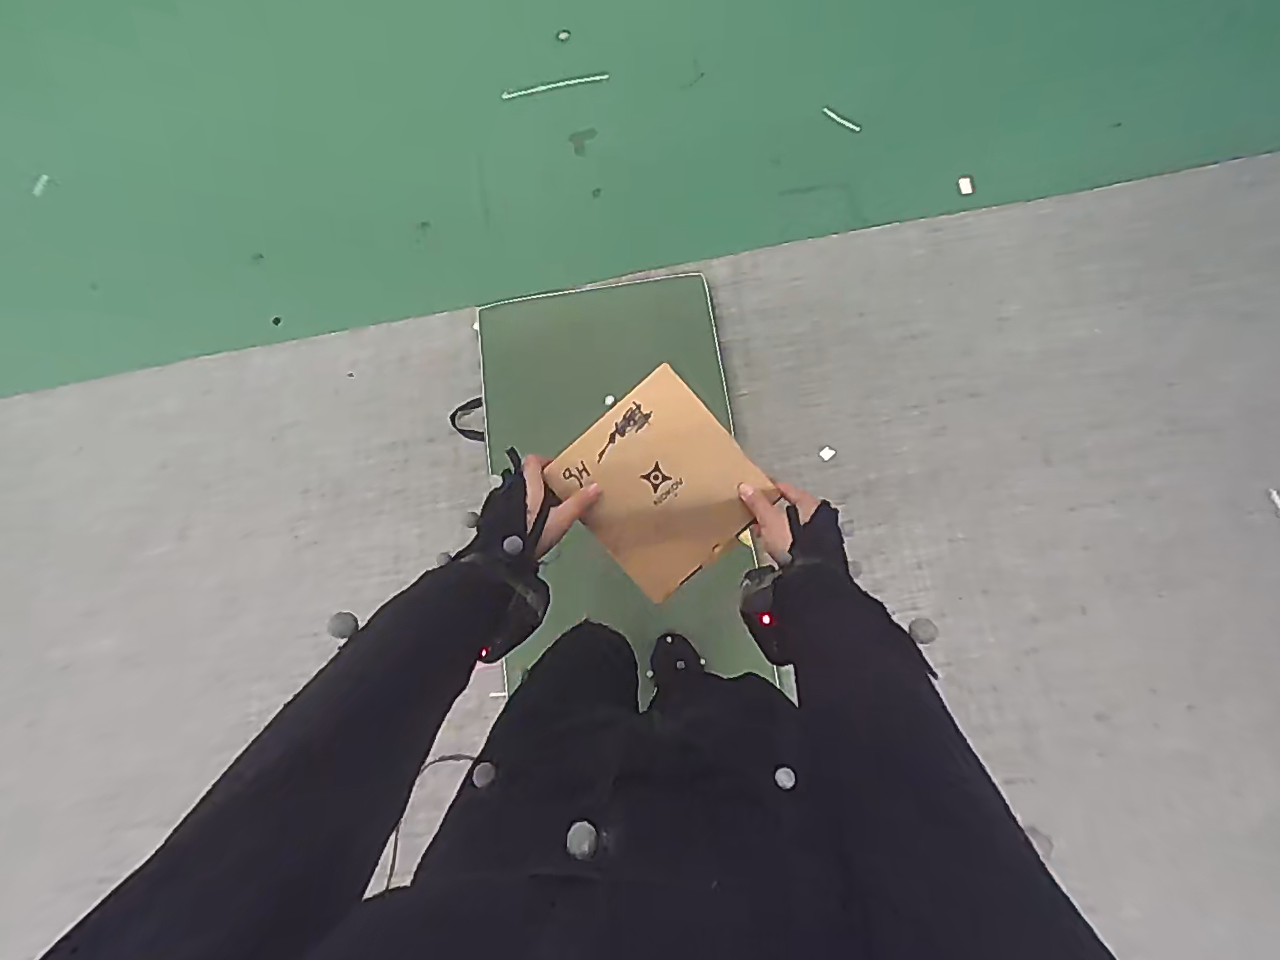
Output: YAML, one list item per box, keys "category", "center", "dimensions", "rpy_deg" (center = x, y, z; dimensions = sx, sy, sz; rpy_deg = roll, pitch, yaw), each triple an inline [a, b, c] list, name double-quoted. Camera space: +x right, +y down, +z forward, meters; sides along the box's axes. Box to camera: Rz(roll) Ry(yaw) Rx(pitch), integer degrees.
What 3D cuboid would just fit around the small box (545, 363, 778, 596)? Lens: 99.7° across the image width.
- category: "small box"
  center: [0.021, -0.003, 0.610]
  dimensions: [0.168, 0.176, 0.179]
  rpy_deg: [-41, 92, 0]
